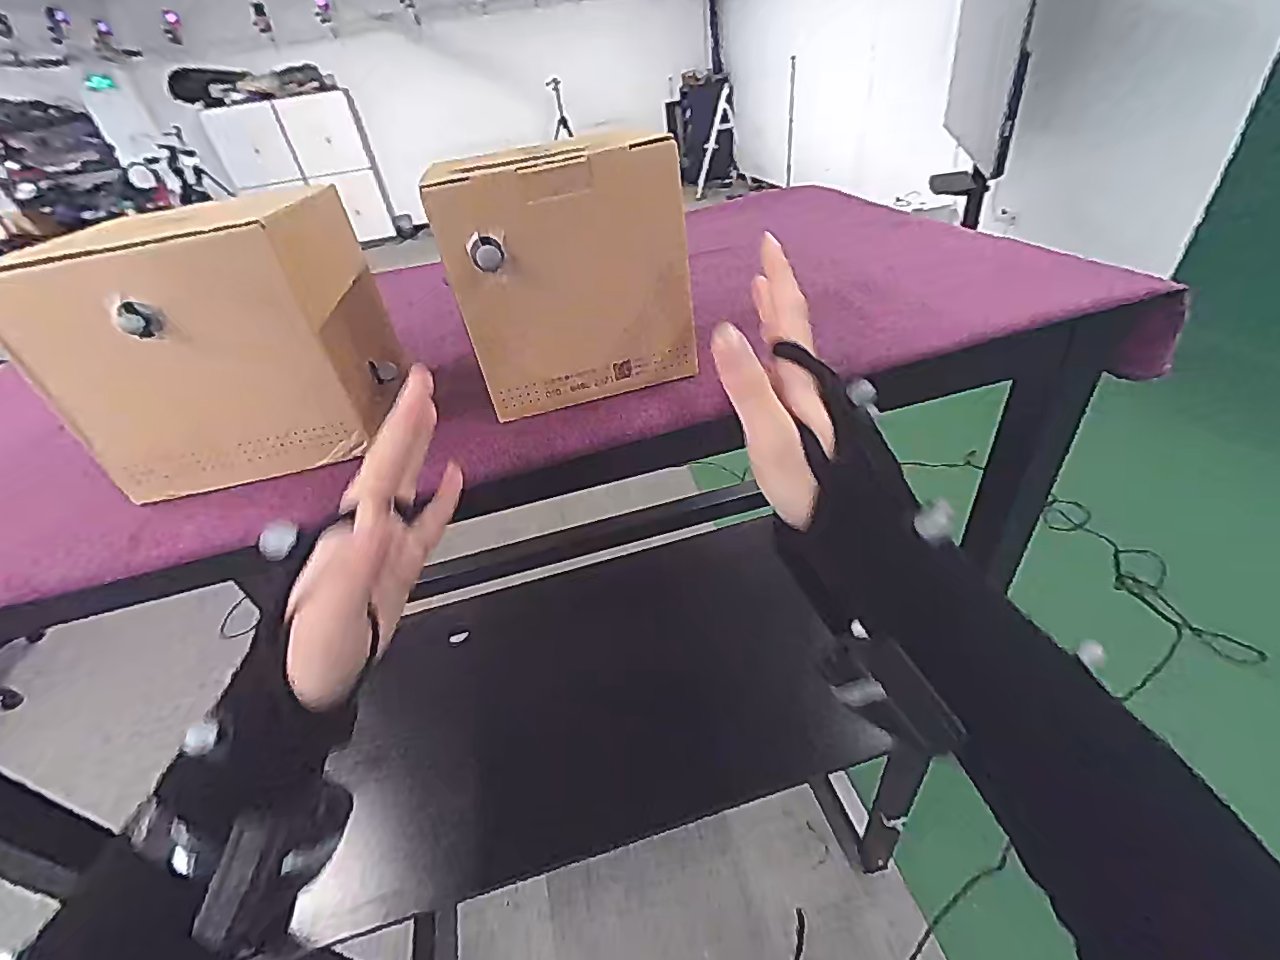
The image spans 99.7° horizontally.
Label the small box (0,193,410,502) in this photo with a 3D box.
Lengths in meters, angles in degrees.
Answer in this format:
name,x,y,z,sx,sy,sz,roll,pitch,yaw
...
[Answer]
name,x,y,z,sx,sy,sz,roll,pitch,yaw
small box,-0.305,-0.103,0.414,0.179,0.176,0.168,-13,36,-5
